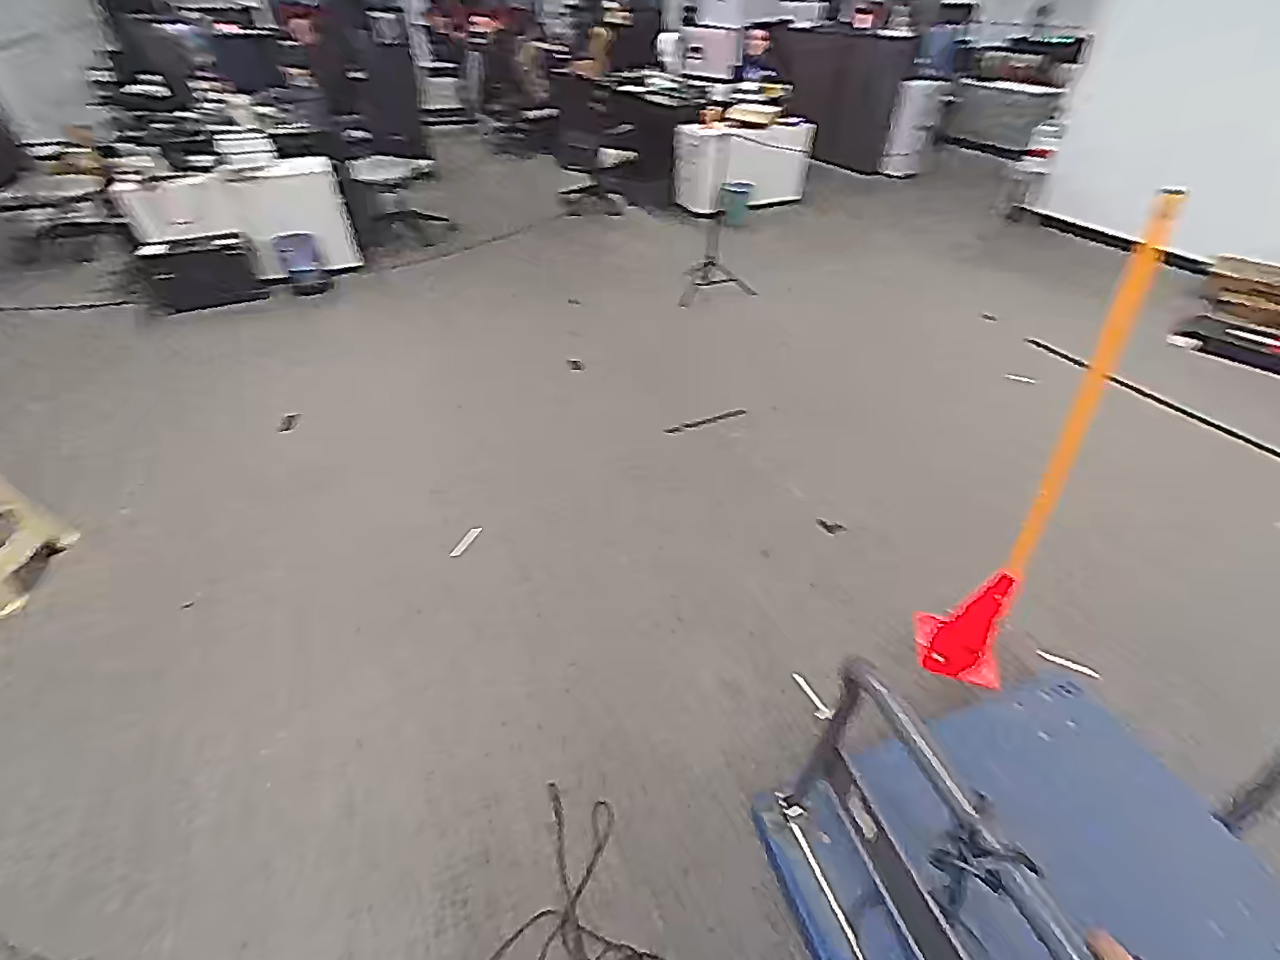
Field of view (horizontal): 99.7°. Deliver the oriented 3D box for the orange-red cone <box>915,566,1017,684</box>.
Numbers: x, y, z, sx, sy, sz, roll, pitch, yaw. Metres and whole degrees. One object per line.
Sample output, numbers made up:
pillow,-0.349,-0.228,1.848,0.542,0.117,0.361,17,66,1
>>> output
orange-red cone,0.902,0.351,1.442,0.199,0.360,0.198,14,45,12
